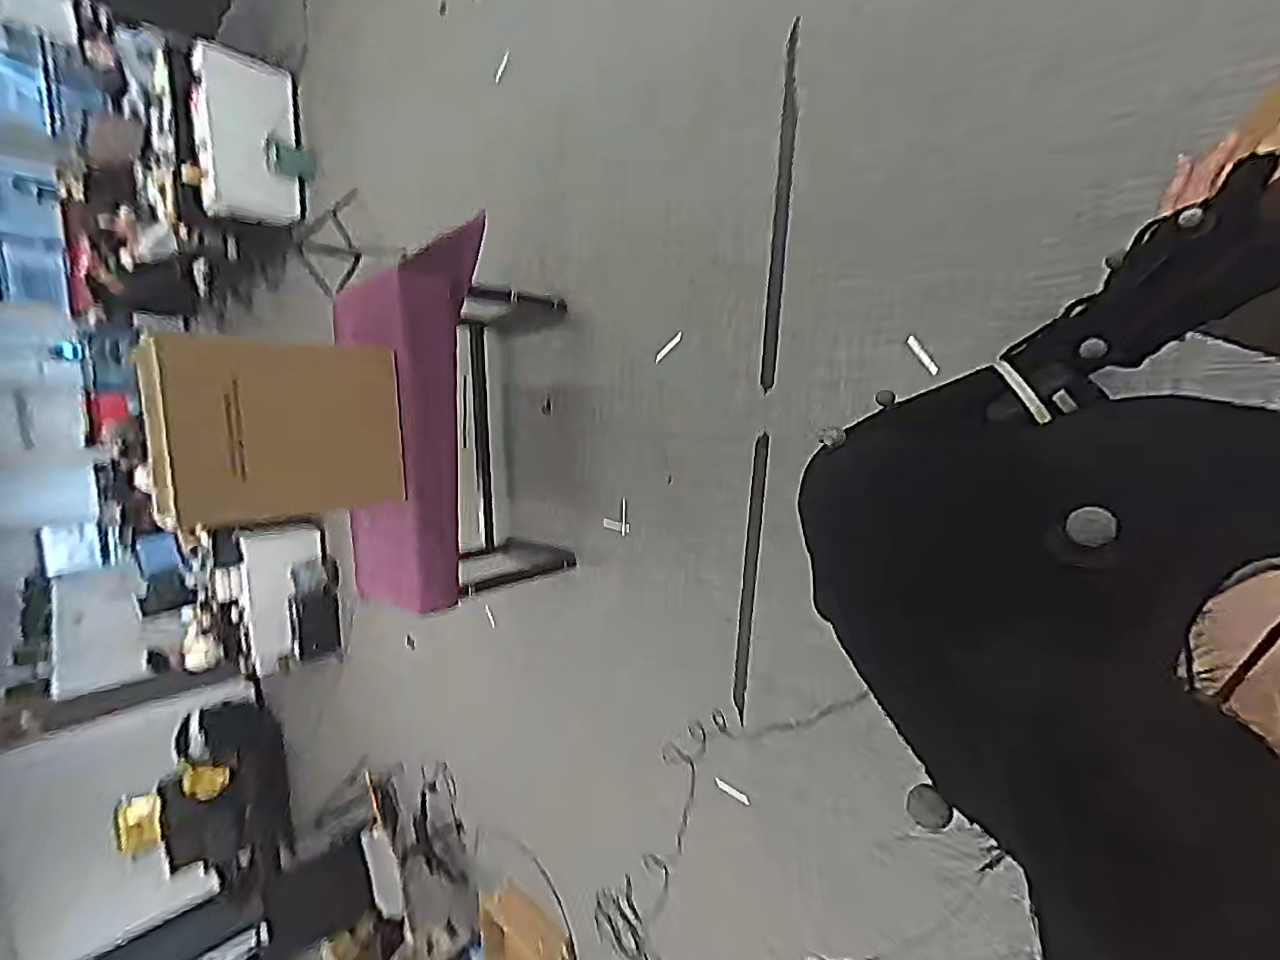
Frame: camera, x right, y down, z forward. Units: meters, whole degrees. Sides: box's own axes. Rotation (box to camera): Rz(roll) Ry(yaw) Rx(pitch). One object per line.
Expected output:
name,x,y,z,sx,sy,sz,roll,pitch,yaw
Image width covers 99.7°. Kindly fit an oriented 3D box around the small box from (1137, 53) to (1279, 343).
small box,0.519,-0.216,0.388,0.168,0.176,0.179,27,81,18
